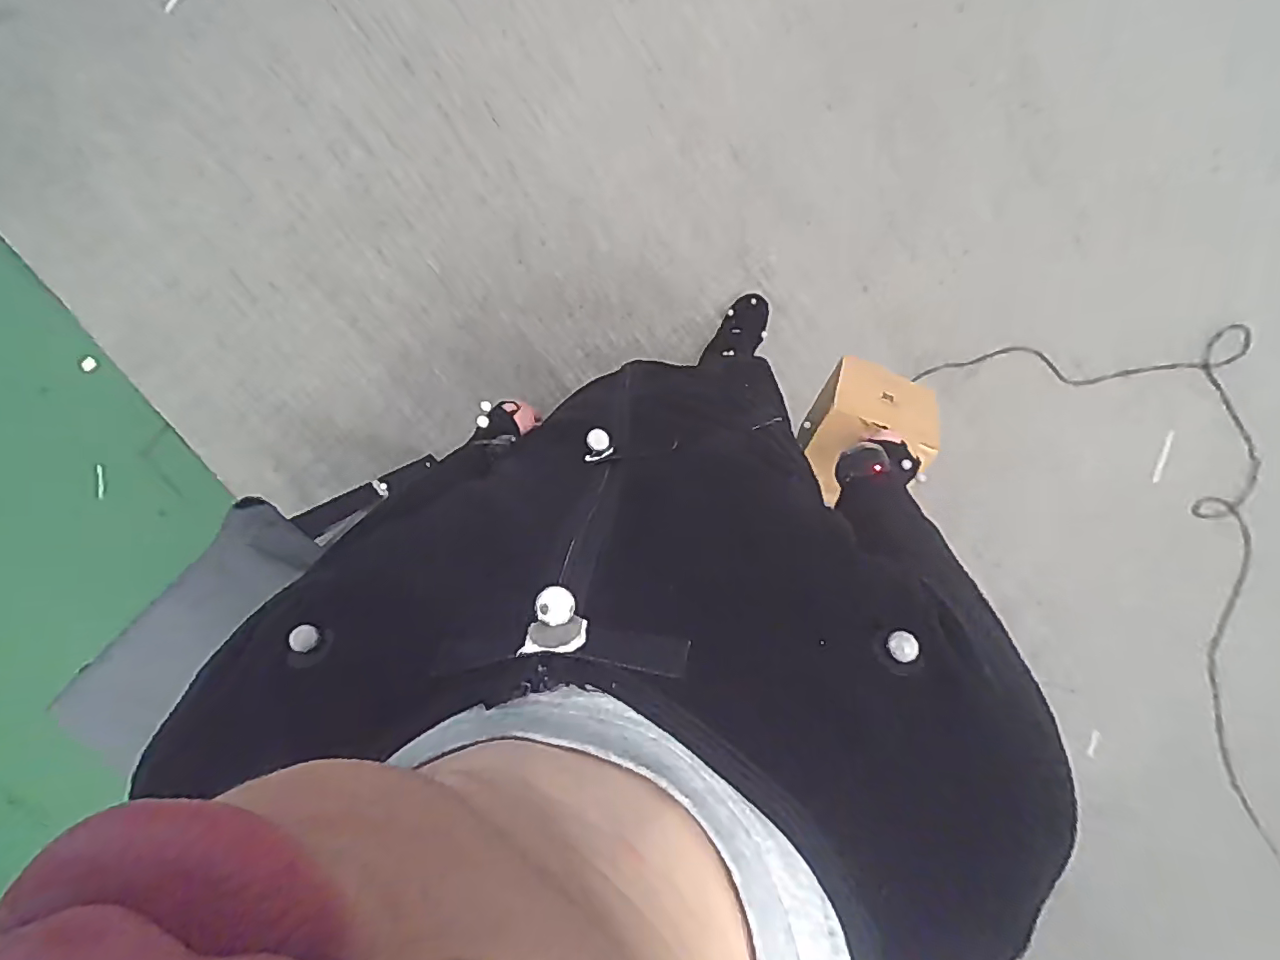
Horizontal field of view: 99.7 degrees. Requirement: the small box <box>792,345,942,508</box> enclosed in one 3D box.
[{"bbox_3d":[0.367,-0.085,0.890,0.168,0.179,0.176,26,135,5],"label":"small box"}]
